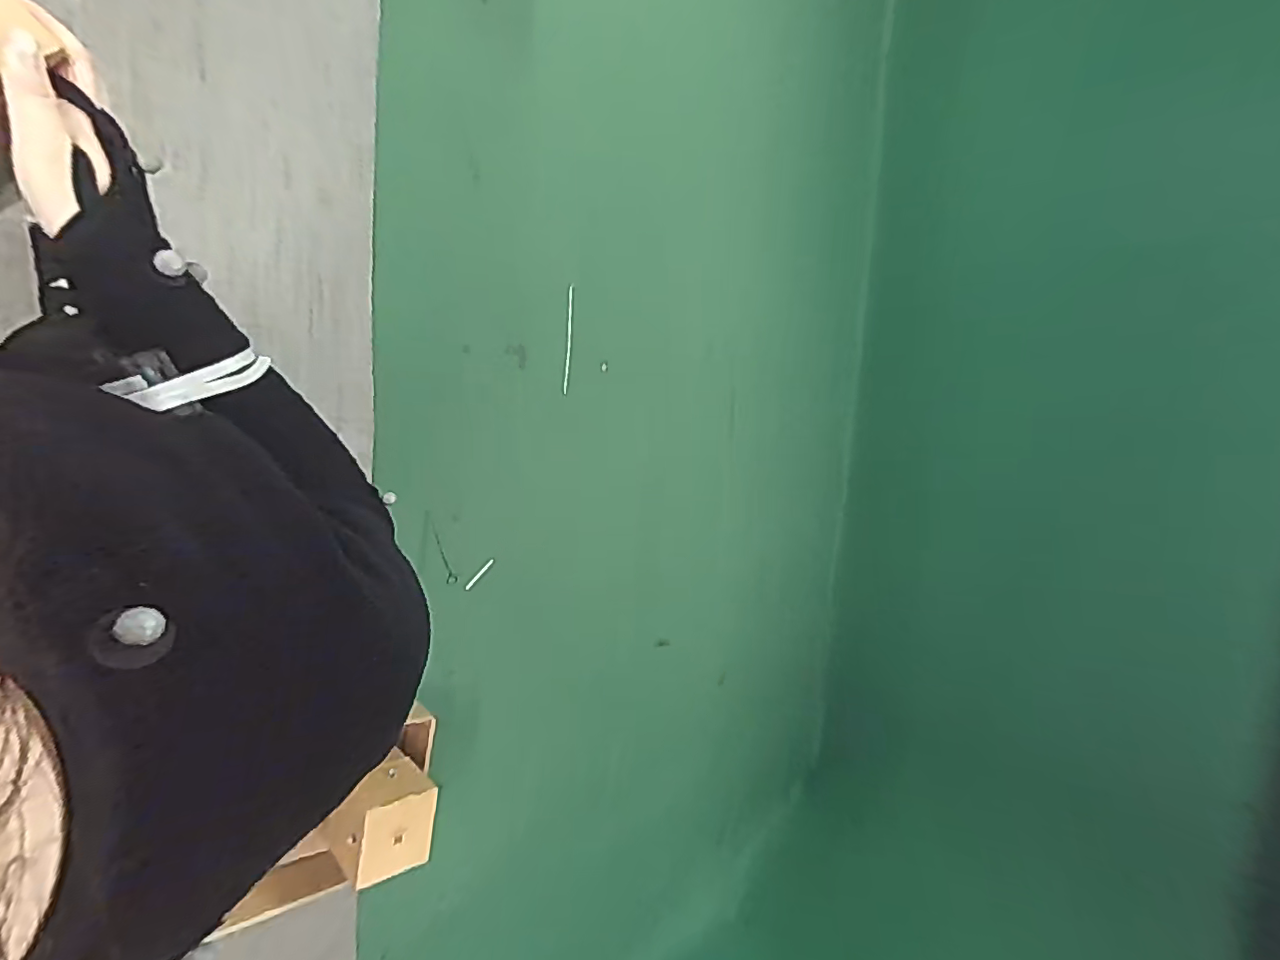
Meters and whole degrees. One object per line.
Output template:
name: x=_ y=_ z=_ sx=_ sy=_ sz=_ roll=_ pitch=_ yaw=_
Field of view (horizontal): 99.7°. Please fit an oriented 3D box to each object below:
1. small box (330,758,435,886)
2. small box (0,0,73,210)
small box: x=-0.615 y=0.799 z=1.284 sx=0.168 sy=0.176 sz=0.179 roll=9 pitch=88 yaw=-47
small box: x=-0.458 y=-0.232 z=0.281 sx=0.168 sy=0.176 sz=0.179 roll=52 pitch=58 yaw=-32
